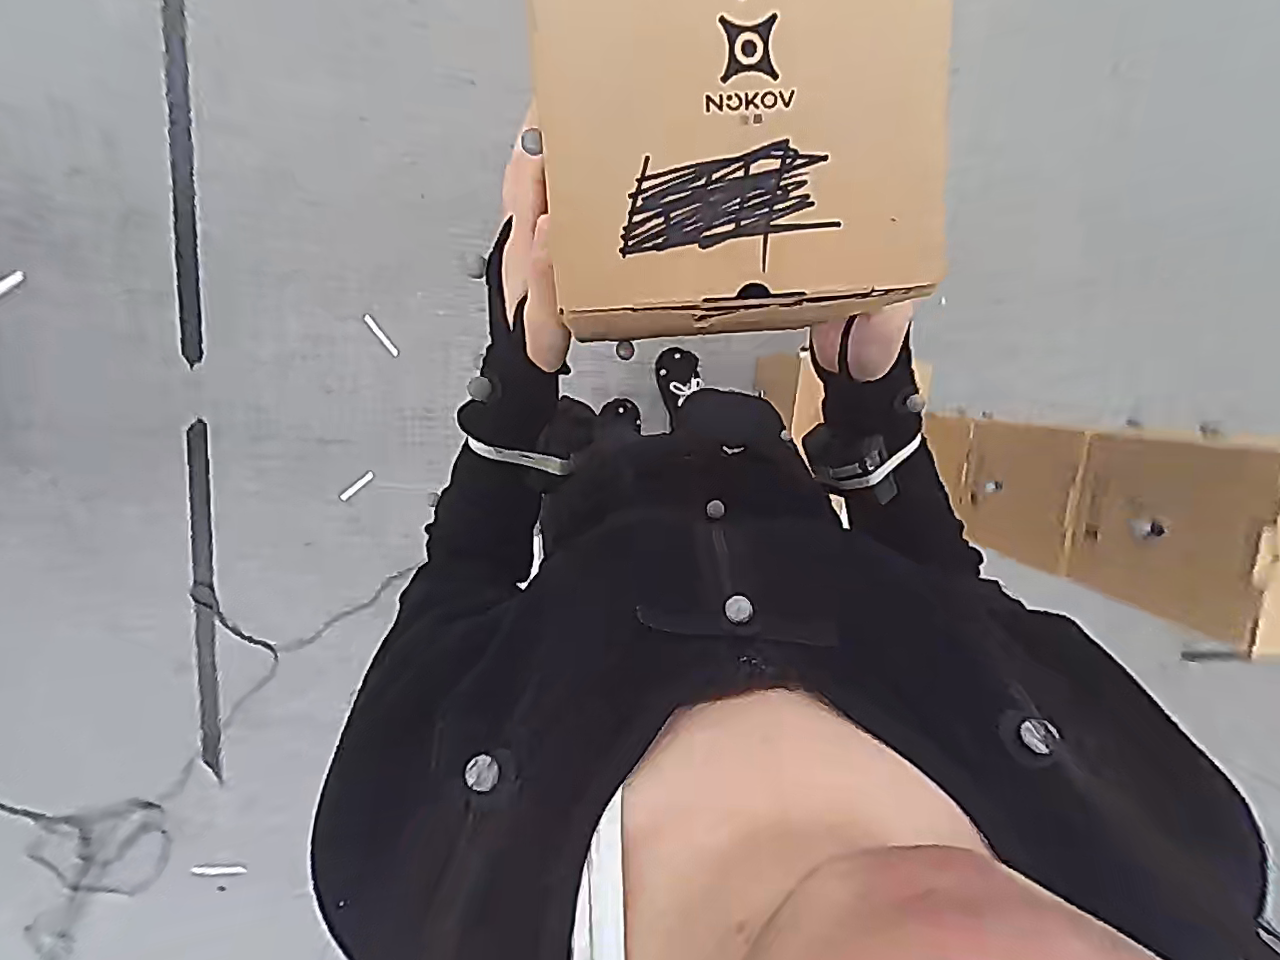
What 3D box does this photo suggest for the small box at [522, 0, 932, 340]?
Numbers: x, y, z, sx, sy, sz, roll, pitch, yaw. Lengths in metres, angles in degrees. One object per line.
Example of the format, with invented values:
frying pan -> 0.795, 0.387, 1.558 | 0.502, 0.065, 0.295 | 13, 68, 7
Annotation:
small box -> 0.033, -0.174, 0.298 | 0.168, 0.176, 0.179 | -6, 99, -3

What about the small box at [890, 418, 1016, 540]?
small box -> 0.519, -0.006, 0.829 | 0.179, 0.176, 0.168 | 3, 99, -5

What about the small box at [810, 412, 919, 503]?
small box -> 0.477, -0.052, 1.150 | 0.168, 0.176, 0.179 | 3, 100, -5

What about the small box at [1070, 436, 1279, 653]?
small box -> 0.558, 0.049, 0.507 | 0.179, 0.176, 0.168 | 1, 100, -4

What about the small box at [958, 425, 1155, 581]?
small box -> 0.538, 0.021, 0.667 | 0.179, 0.176, 0.168 | 2, 99, -5
